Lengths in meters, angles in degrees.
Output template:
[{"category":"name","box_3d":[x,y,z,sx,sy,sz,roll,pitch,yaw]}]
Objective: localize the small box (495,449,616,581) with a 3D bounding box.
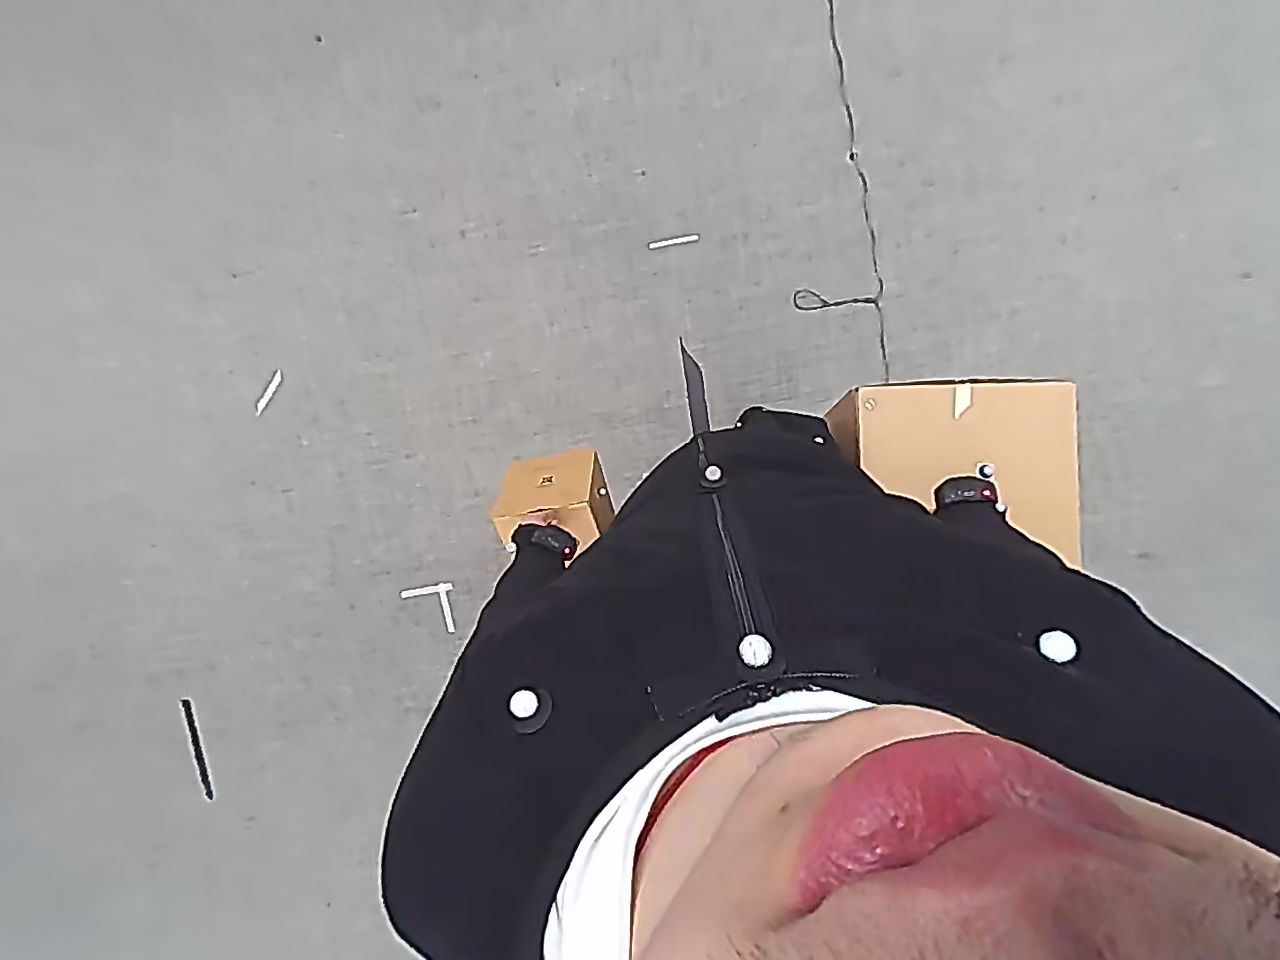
[{"category":"small box","box_3d":[-0.143,0.070,0.993,0.168,0.179,0.176,-10,123,7]}]
